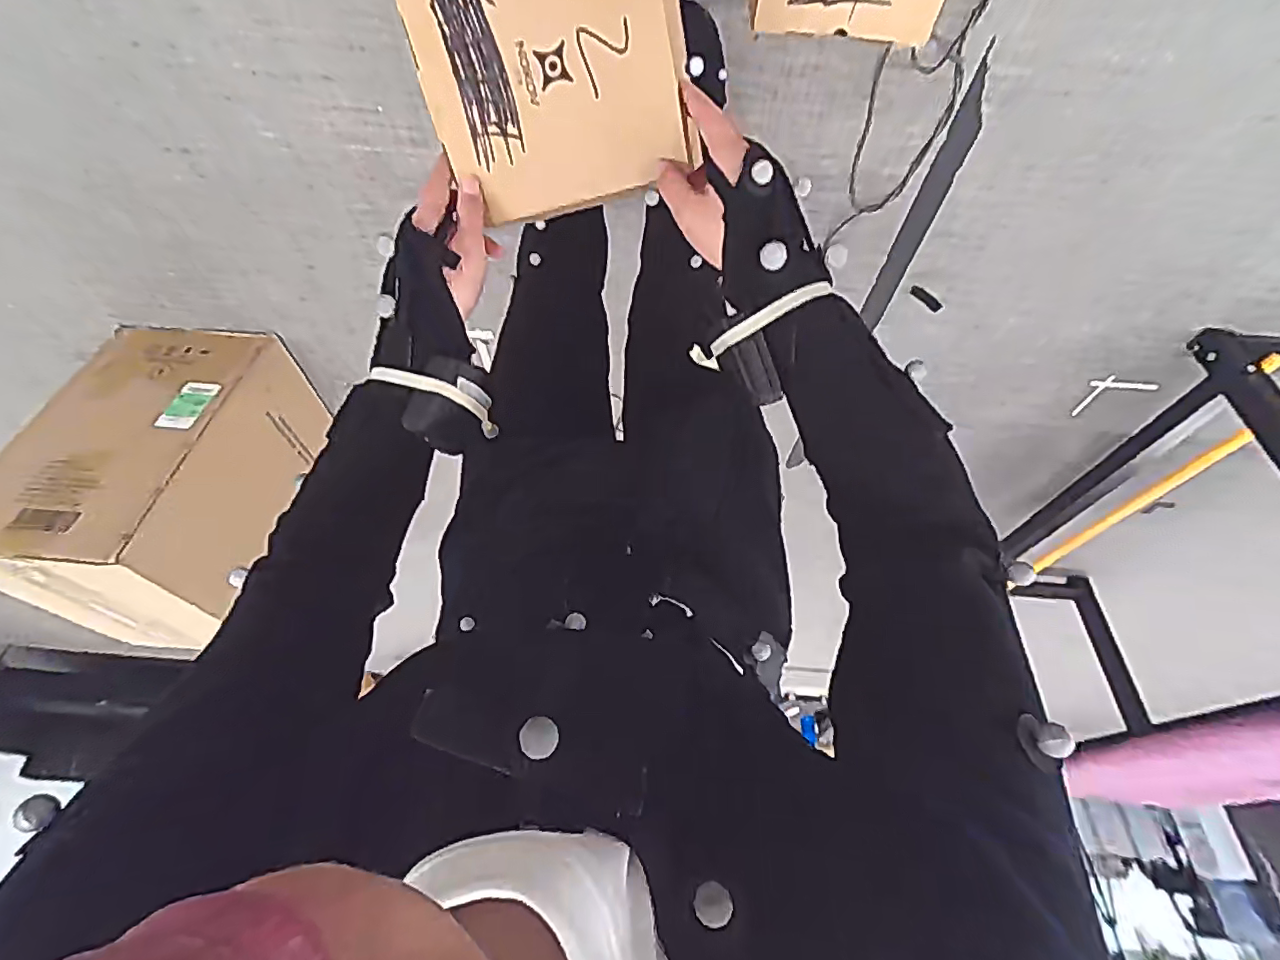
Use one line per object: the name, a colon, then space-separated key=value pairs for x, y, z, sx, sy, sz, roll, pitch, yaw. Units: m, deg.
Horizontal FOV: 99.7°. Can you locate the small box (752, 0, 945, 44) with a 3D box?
small box: x=0.197 y=-0.526 z=0.474 sx=0.168 sy=0.176 sz=0.179 roll=5 pitch=145 yaw=0
